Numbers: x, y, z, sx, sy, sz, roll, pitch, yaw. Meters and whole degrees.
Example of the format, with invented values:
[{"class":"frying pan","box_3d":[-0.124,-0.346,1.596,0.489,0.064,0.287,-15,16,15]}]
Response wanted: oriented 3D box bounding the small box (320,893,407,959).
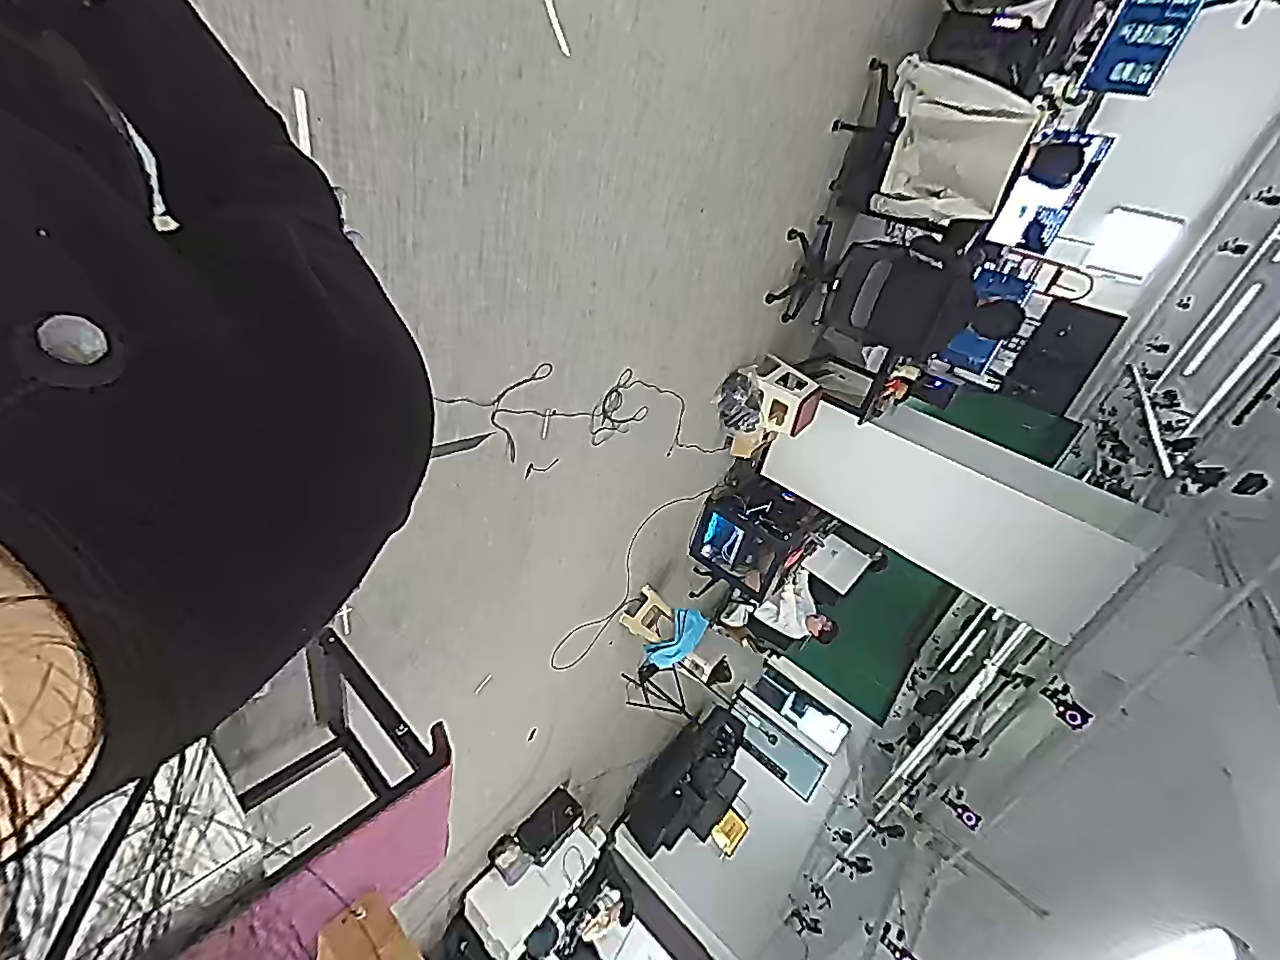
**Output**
[{"class":"small box","box_3d":[-0.805,1.363,1.571,0.168,0.176,0.179,-19,131,-52]}]
